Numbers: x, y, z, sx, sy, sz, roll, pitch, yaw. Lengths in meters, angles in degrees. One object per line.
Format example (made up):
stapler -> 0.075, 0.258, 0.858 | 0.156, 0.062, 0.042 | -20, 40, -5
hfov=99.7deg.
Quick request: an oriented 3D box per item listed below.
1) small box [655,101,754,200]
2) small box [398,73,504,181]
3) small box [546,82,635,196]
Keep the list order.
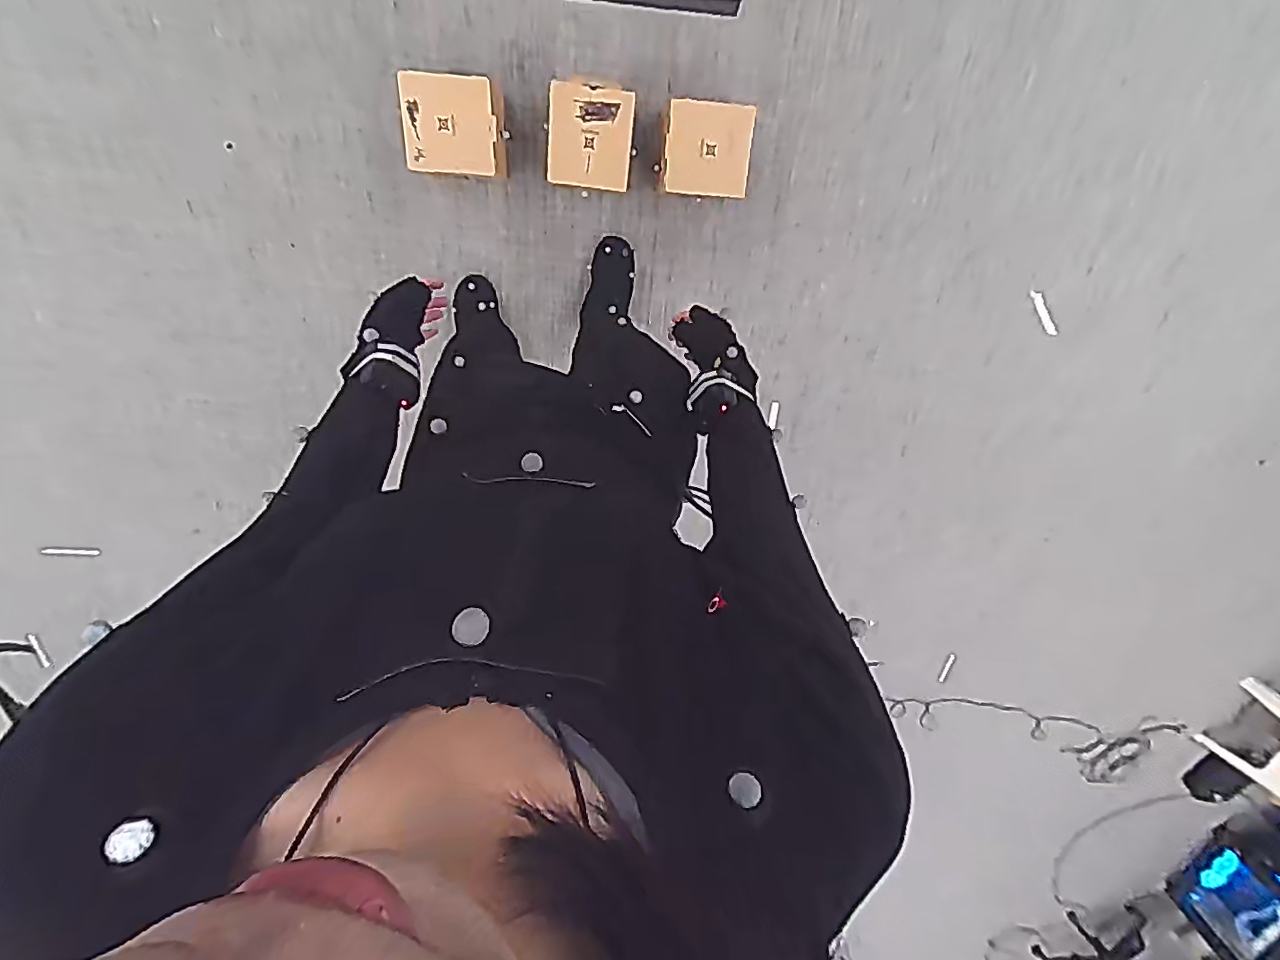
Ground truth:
small box -> 0.130, -0.707, 1.175 | 0.179, 0.176, 0.168 | 1, 119, -6
small box -> -0.380, -0.723, 1.124 | 0.179, 0.176, 0.168 | 1, 117, -6
small box -> -0.108, -0.714, 1.150 | 0.168, 0.176, 0.179 | 5, 118, -7
